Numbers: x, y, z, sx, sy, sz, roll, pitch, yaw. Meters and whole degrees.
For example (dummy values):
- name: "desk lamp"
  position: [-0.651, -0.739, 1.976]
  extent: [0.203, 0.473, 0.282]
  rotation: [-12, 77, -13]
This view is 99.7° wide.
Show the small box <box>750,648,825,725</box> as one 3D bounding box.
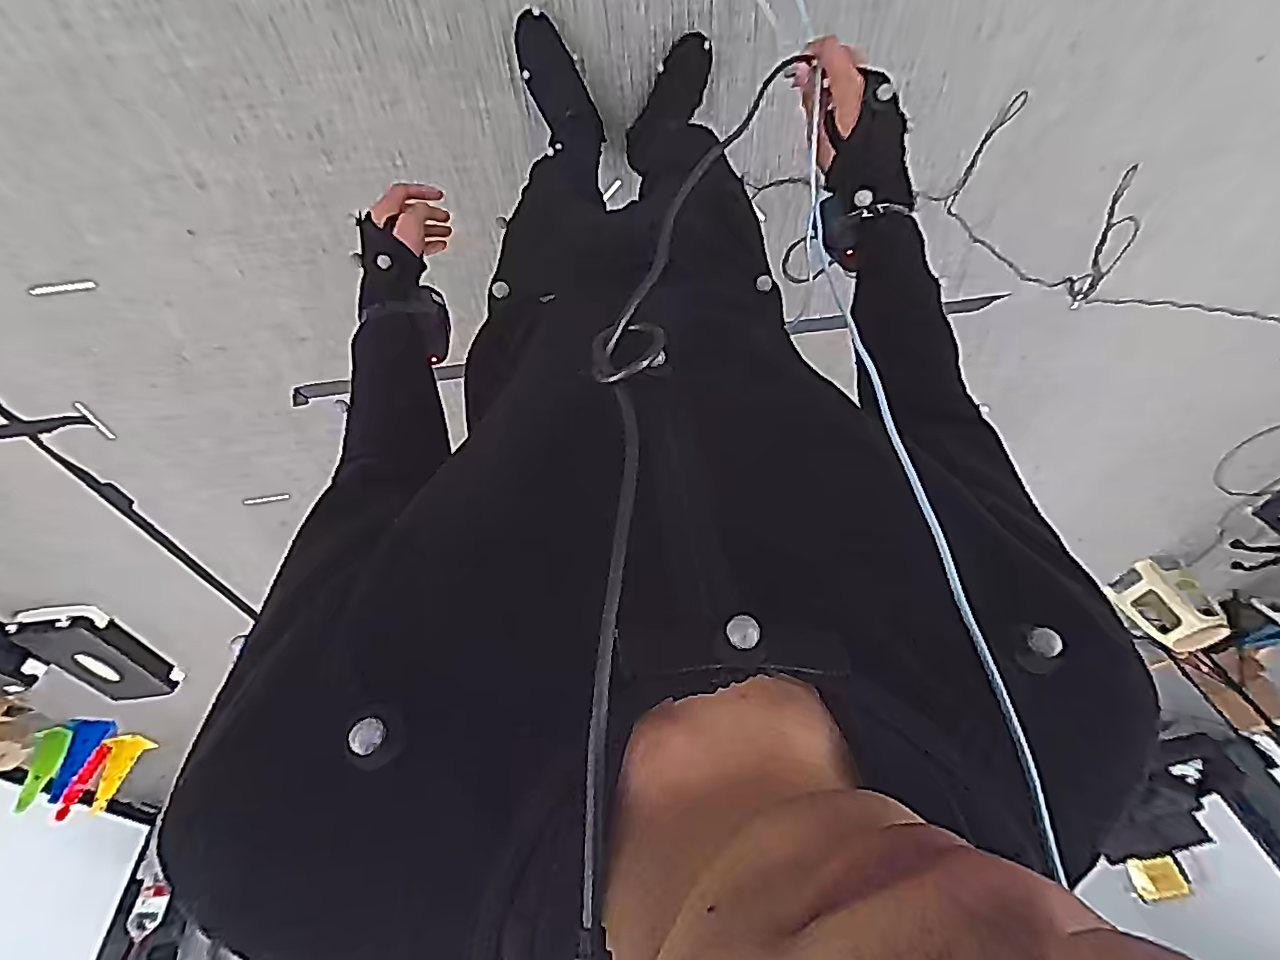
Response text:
- name: "small box"
  position: [0.462, 0.656, 1.727]
  extent: [0.179, 0.176, 0.168]
  rotation: [-7, 137, -4]
